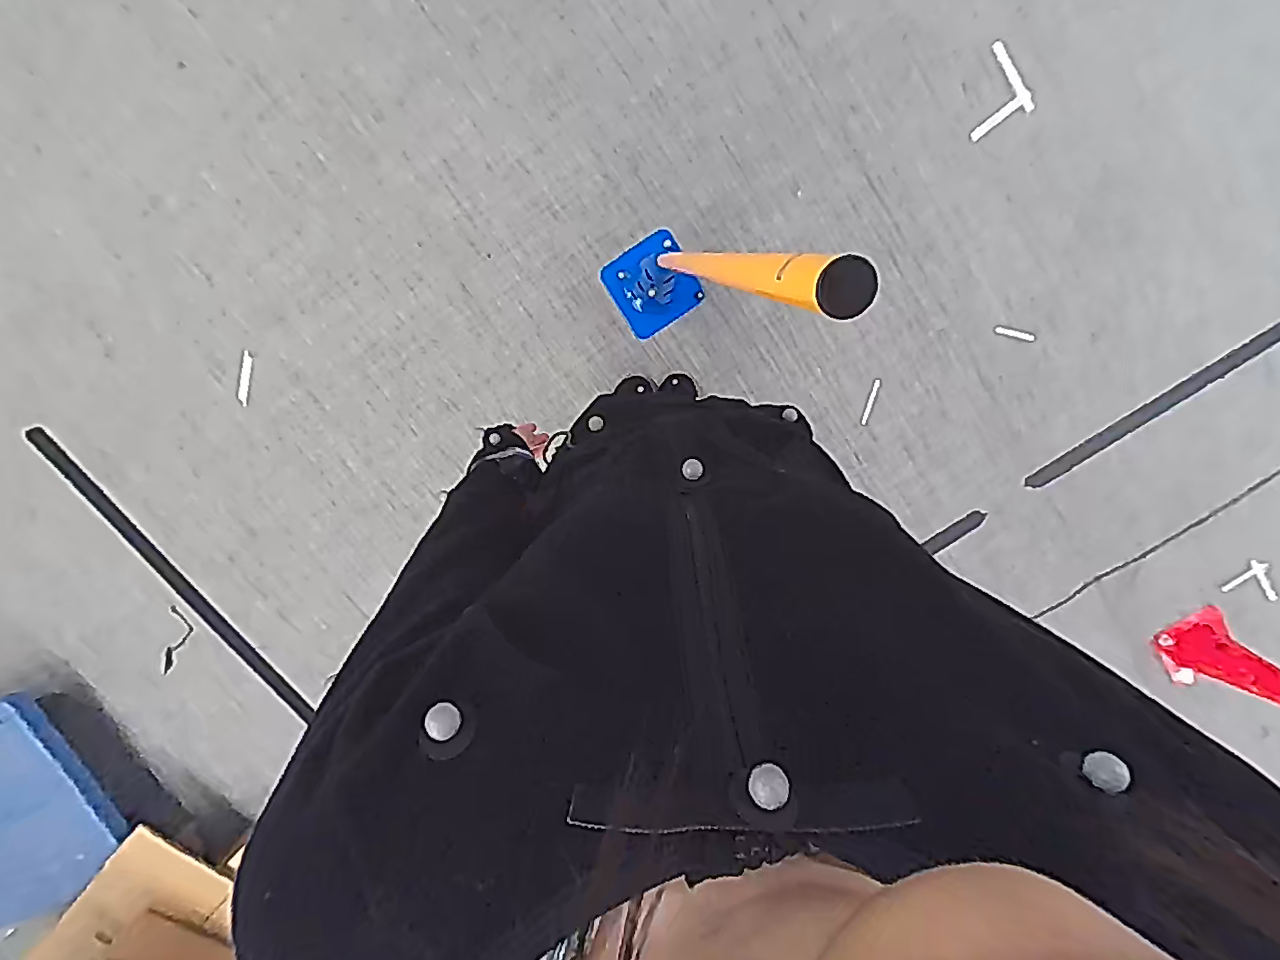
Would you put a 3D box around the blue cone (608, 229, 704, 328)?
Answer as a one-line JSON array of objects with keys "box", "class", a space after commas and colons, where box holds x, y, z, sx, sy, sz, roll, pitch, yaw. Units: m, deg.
[{"box": [0.044, -0.452, 1.159, 0.192, 0.380, 0.193, -31, 102, 4], "class": "blue cone"}]

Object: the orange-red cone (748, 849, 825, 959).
[{"box": [0.468, 1.305, 1.537, 0.199, 0.360, 0.198, -31, 101, 6], "class": "orange-red cone"}]
